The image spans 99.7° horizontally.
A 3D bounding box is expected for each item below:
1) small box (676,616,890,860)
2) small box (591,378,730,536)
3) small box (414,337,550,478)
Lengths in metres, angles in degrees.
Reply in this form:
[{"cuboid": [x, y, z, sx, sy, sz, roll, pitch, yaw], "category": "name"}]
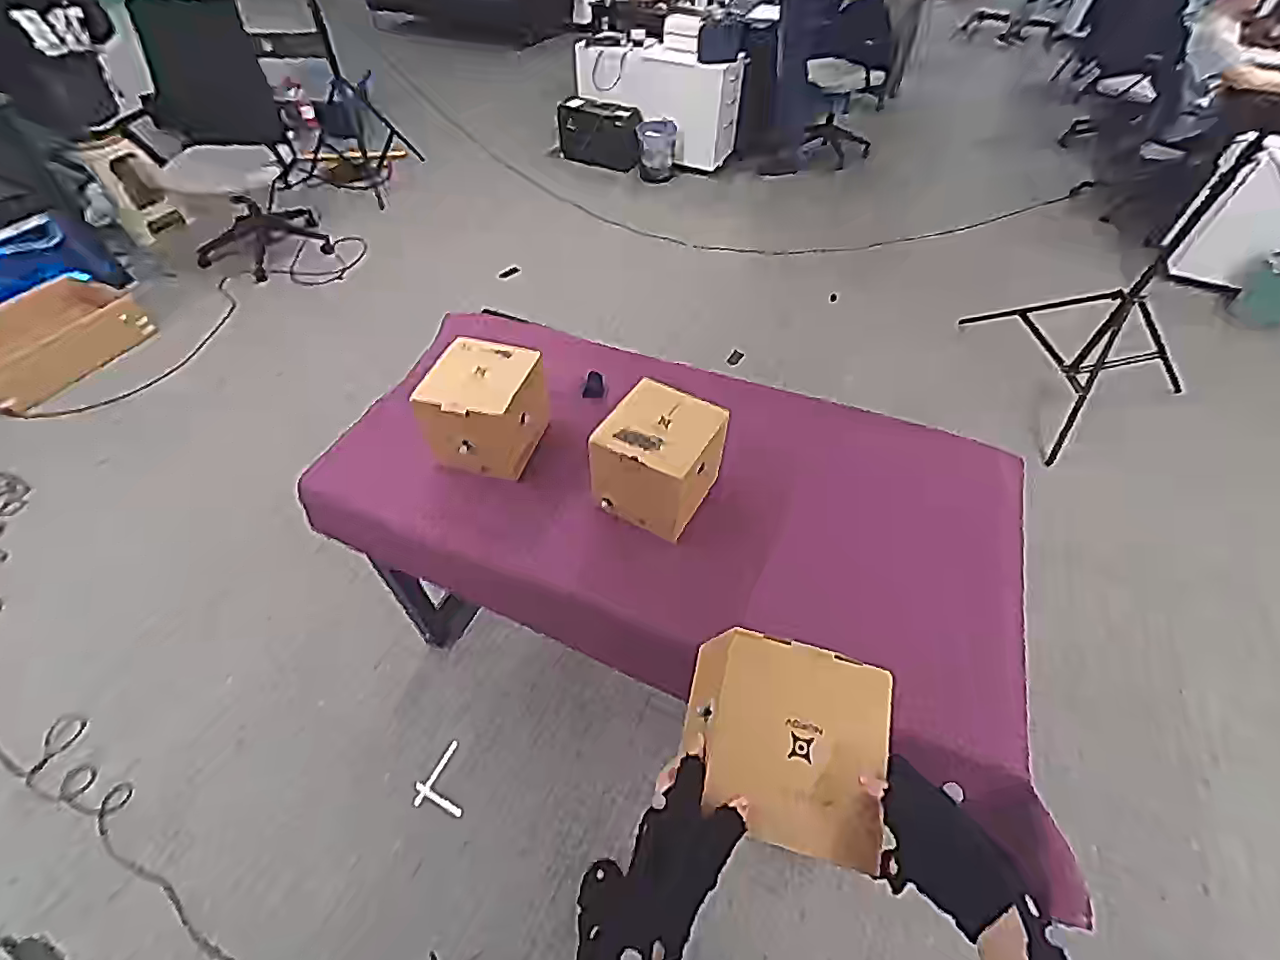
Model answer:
[{"cuboid": [0.142, 0.265, 0.579, 0.168, 0.176, 0.179, 16, 66, 2], "category": "small box"}, {"cuboid": [0.035, -0.036, 0.919, 0.168, 0.176, 0.179, 25, 53, 18], "category": "small box"}, {"cuboid": [-0.274, -0.129, 0.987, 0.168, 0.176, 0.179, 13, 52, 8], "category": "small box"}]
